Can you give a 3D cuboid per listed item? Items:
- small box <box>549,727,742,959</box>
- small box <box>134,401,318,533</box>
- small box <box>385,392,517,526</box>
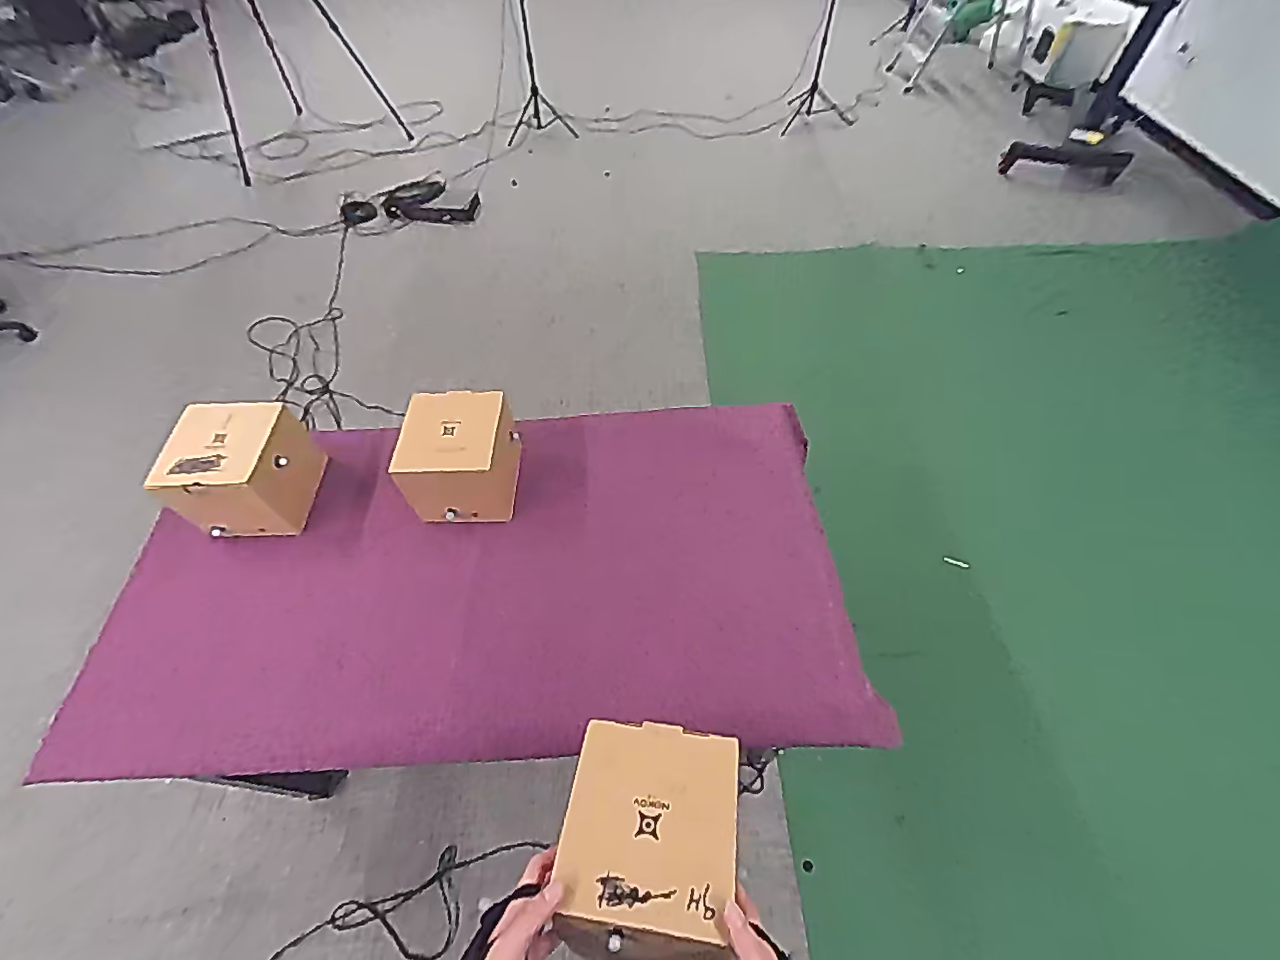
[{"bbox_3d":[0.016,0.396,0.571,0.168,0.176,0.179,4,39,9],"label":"small box"},{"bbox_3d":[-0.697,-0.018,0.940,0.168,0.176,0.179,-1,56,-2],"label":"small box"},{"bbox_3d":[-0.321,-0.035,0.962,0.168,0.176,0.179,0,57,0],"label":"small box"}]
